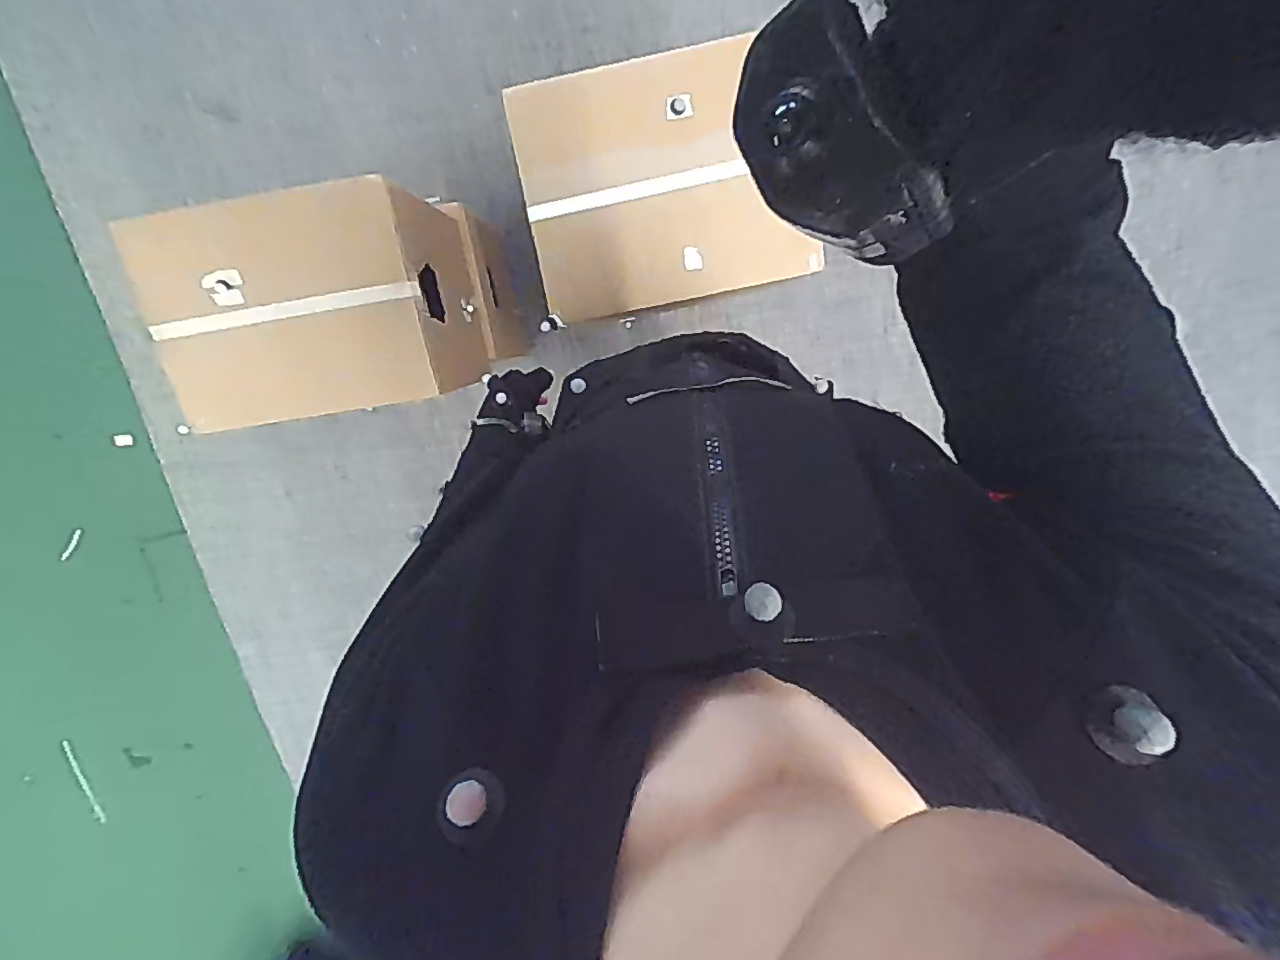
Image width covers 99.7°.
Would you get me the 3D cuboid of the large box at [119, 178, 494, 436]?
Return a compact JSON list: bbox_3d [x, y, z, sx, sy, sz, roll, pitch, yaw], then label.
[{"bbox_3d":[-0.518,-0.284,0.935,0.408,0.320,0.320,-7,105,4],"label":"large box"}]
